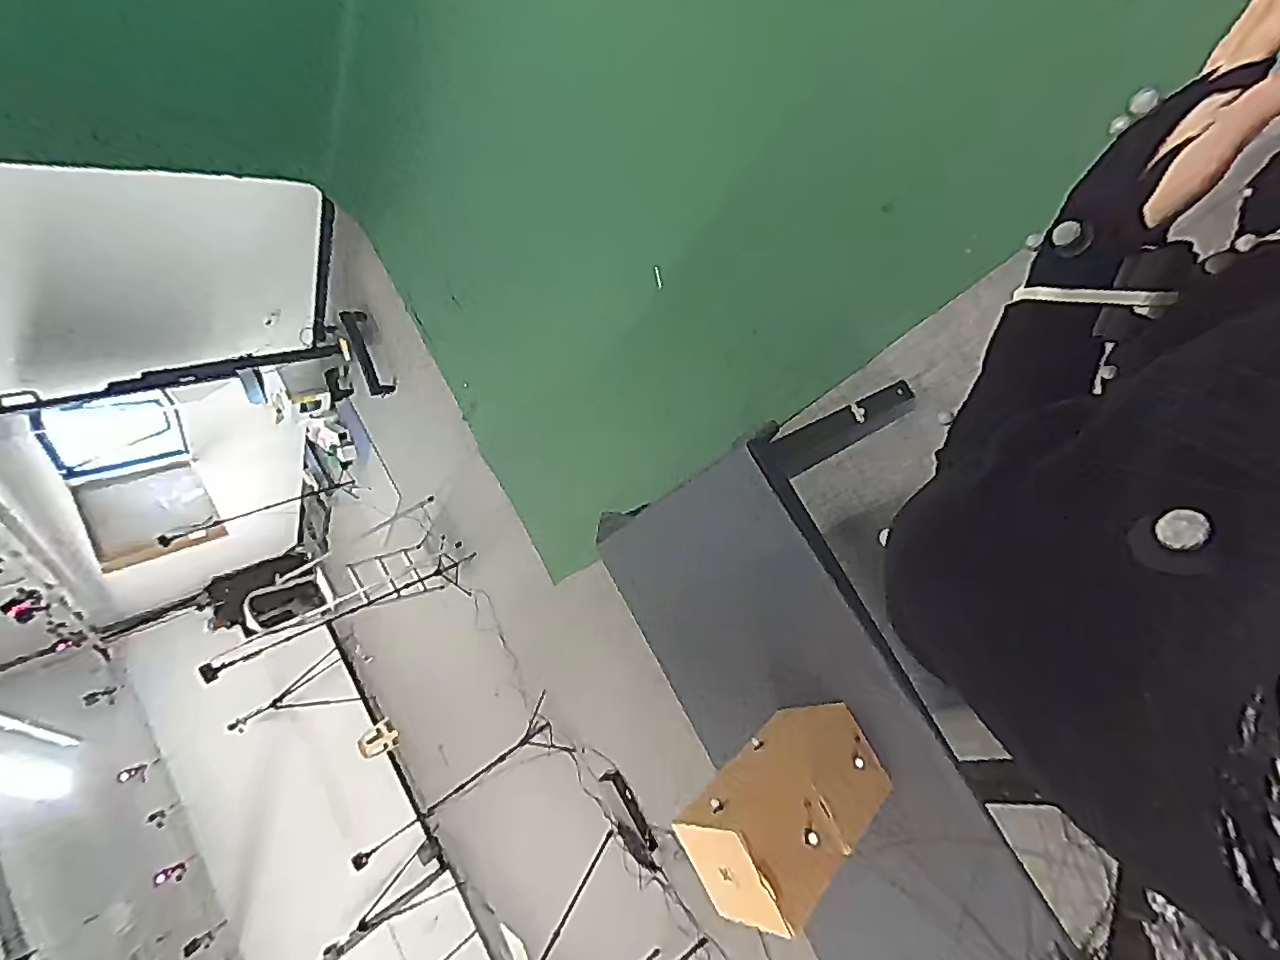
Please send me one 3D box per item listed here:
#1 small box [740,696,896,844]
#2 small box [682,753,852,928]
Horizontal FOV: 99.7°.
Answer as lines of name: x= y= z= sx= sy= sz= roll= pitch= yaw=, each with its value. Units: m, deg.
small box: x=0.327 y=0.522 z=0.992 sx=0.168 sy=0.176 sz=0.179 roll=59 pitch=140 yaw=7
small box: x=0.210 y=0.576 z=0.893 sx=0.168 sy=0.176 sz=0.179 roll=60 pitch=140 yaw=8
